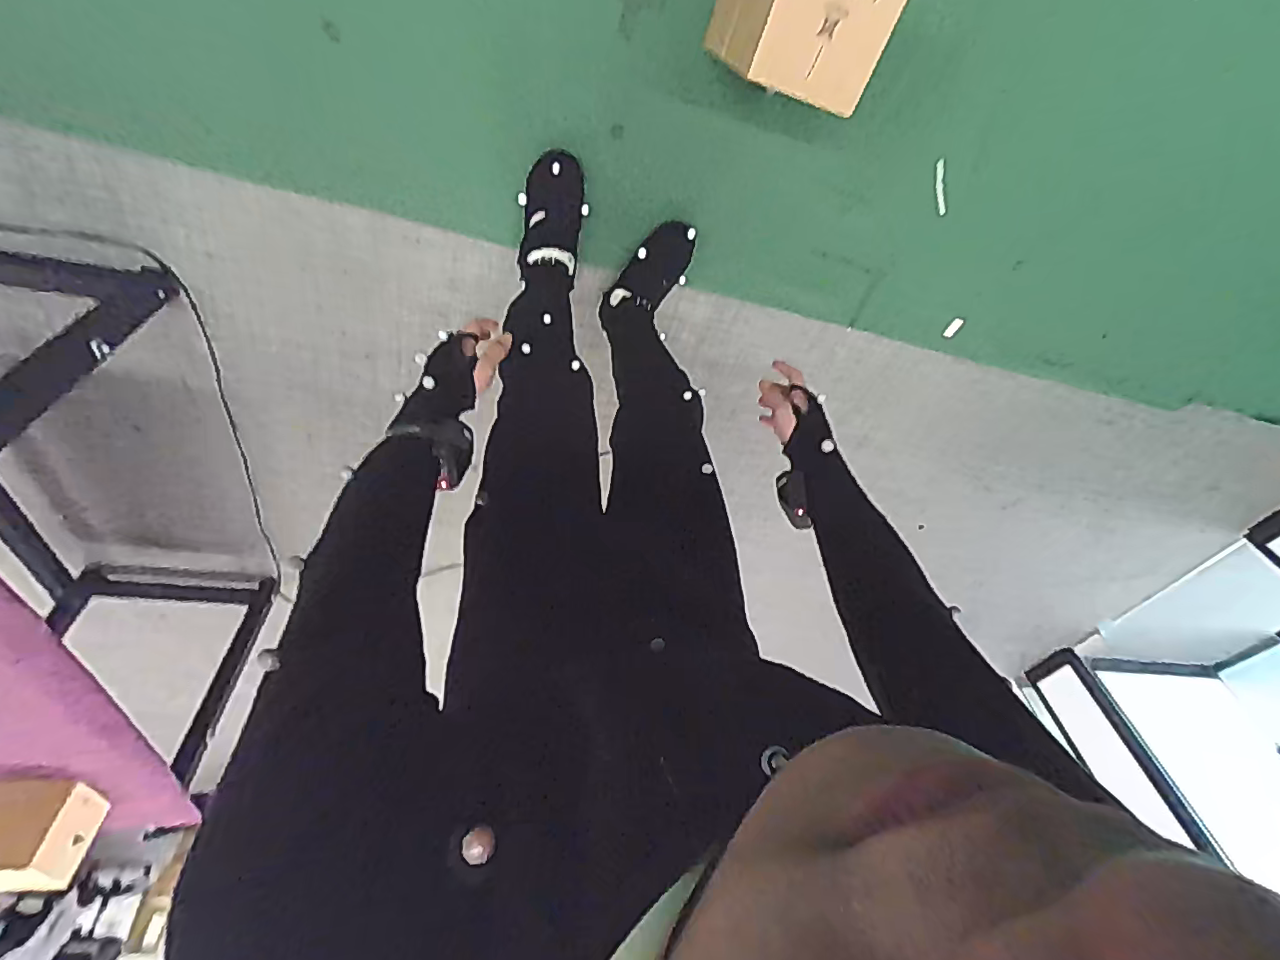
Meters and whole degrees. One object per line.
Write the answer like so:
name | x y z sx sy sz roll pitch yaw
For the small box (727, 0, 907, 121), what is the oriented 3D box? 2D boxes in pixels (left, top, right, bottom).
small box | 0.237 -0.639 0.749 0.168 0.176 0.179 9 132 -16

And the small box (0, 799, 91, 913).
small box | -1.300 0.773 1.115 0.179 0.176 0.168 7 132 -13

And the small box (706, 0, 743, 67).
small box | 0.218 -0.752 0.866 0.168 0.176 0.179 10 132 -16
